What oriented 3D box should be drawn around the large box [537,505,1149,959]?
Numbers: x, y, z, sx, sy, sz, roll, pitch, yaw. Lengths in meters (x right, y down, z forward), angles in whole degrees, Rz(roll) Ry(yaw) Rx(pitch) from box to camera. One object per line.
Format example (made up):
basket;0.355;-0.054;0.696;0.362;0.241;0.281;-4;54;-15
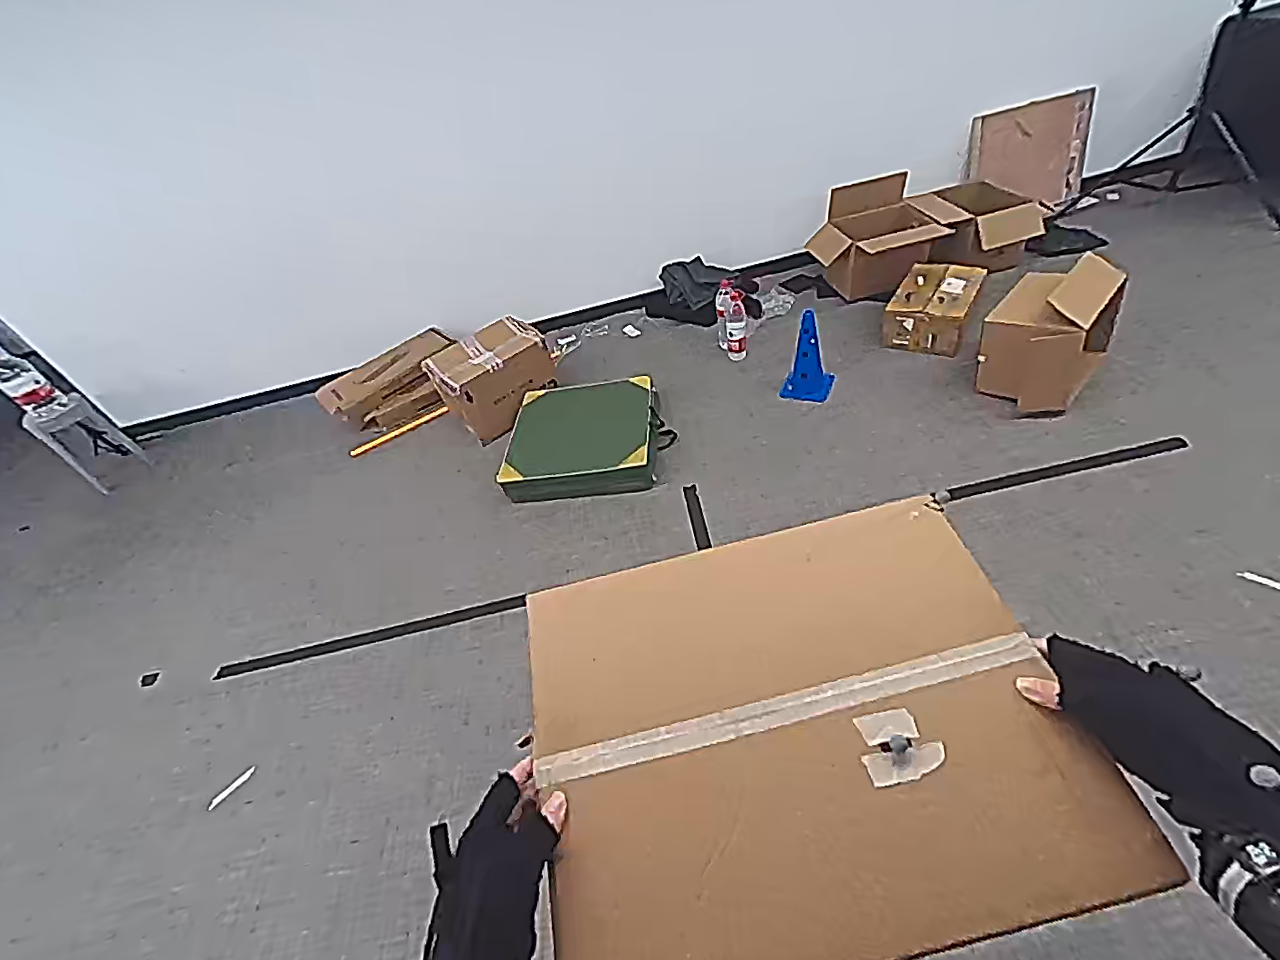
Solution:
large box;0.140;0.280;0.563;0.408;0.320;0.320;-14;52;-1
